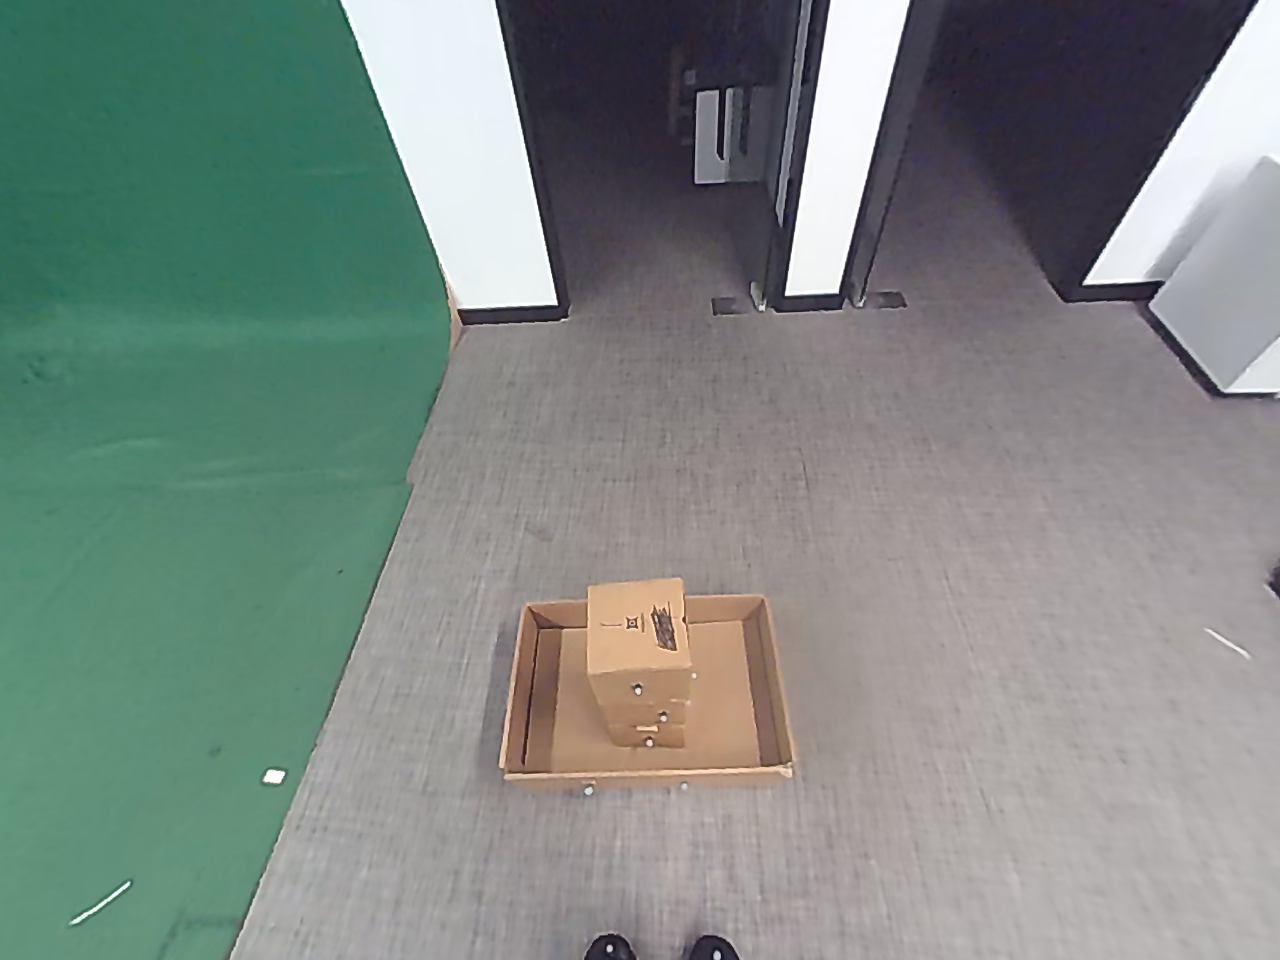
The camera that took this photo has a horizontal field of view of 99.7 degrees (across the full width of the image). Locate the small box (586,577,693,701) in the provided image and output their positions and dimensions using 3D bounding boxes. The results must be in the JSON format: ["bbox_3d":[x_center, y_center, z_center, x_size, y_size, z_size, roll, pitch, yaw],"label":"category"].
[{"bbox_3d":[-0.003,0.299,1.006,0.179,0.176,0.168,-6,52,-2],"label":"small box"}]

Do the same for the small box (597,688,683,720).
[{"bbox_3d":[0.006,0.395,1.138,0.168,0.176,0.179,-1,50,3],"label":"small box"}]

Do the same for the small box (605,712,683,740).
[{"bbox_3d":[0.017,0.497,1.263,0.168,0.176,0.179,-1,51,5],"label":"small box"}]
